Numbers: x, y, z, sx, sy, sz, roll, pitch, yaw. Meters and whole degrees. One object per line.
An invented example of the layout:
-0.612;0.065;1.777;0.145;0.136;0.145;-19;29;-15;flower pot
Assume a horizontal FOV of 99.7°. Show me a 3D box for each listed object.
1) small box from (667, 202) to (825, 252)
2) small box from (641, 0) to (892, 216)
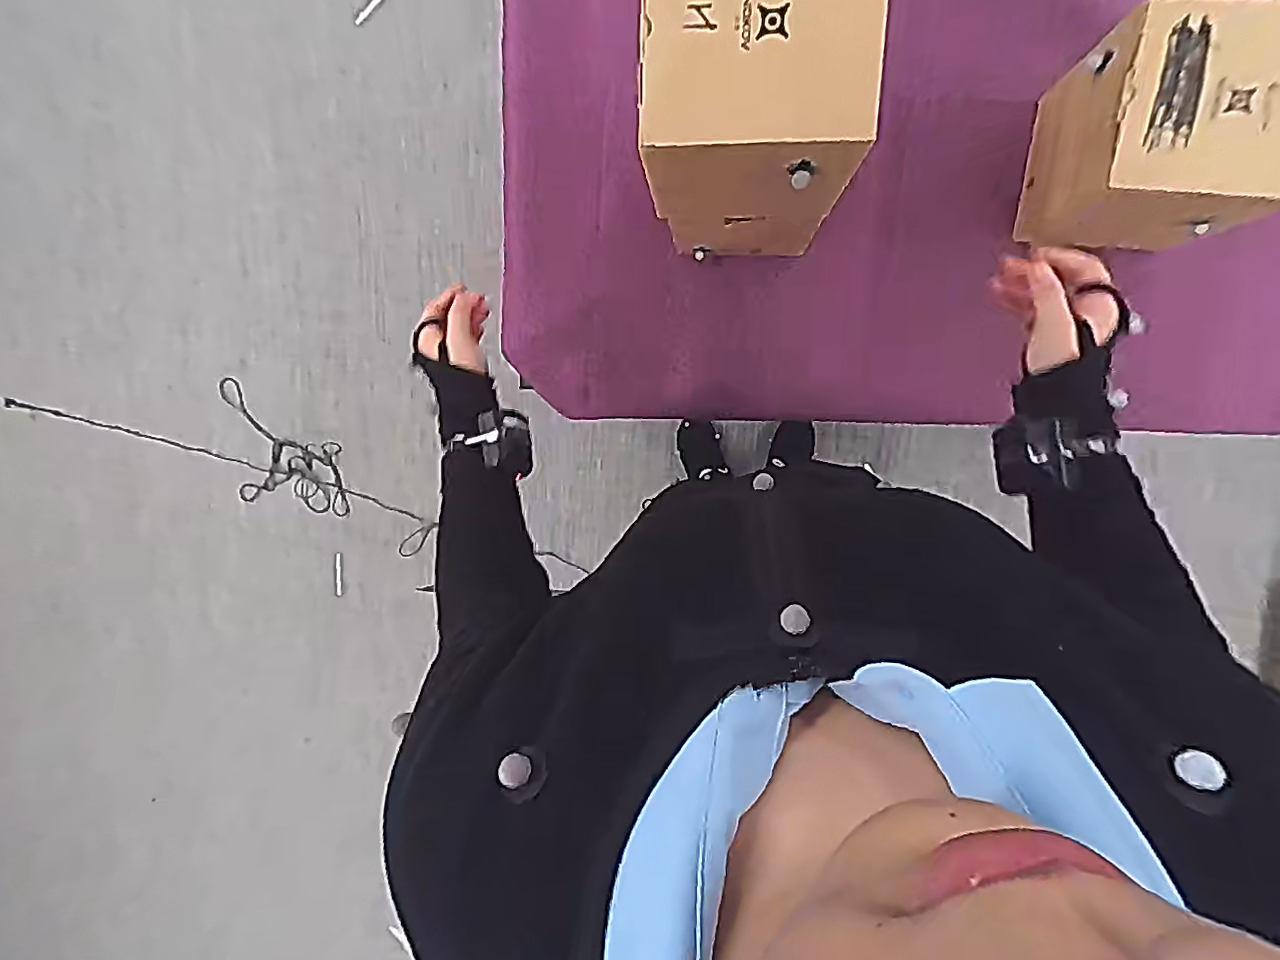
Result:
0.124;-0.373;0.625;0.168;0.176;0.179;4;98;7;small box
0.099;-0.340;0.465;0.179;0.176;0.168;3;99;7;small box
